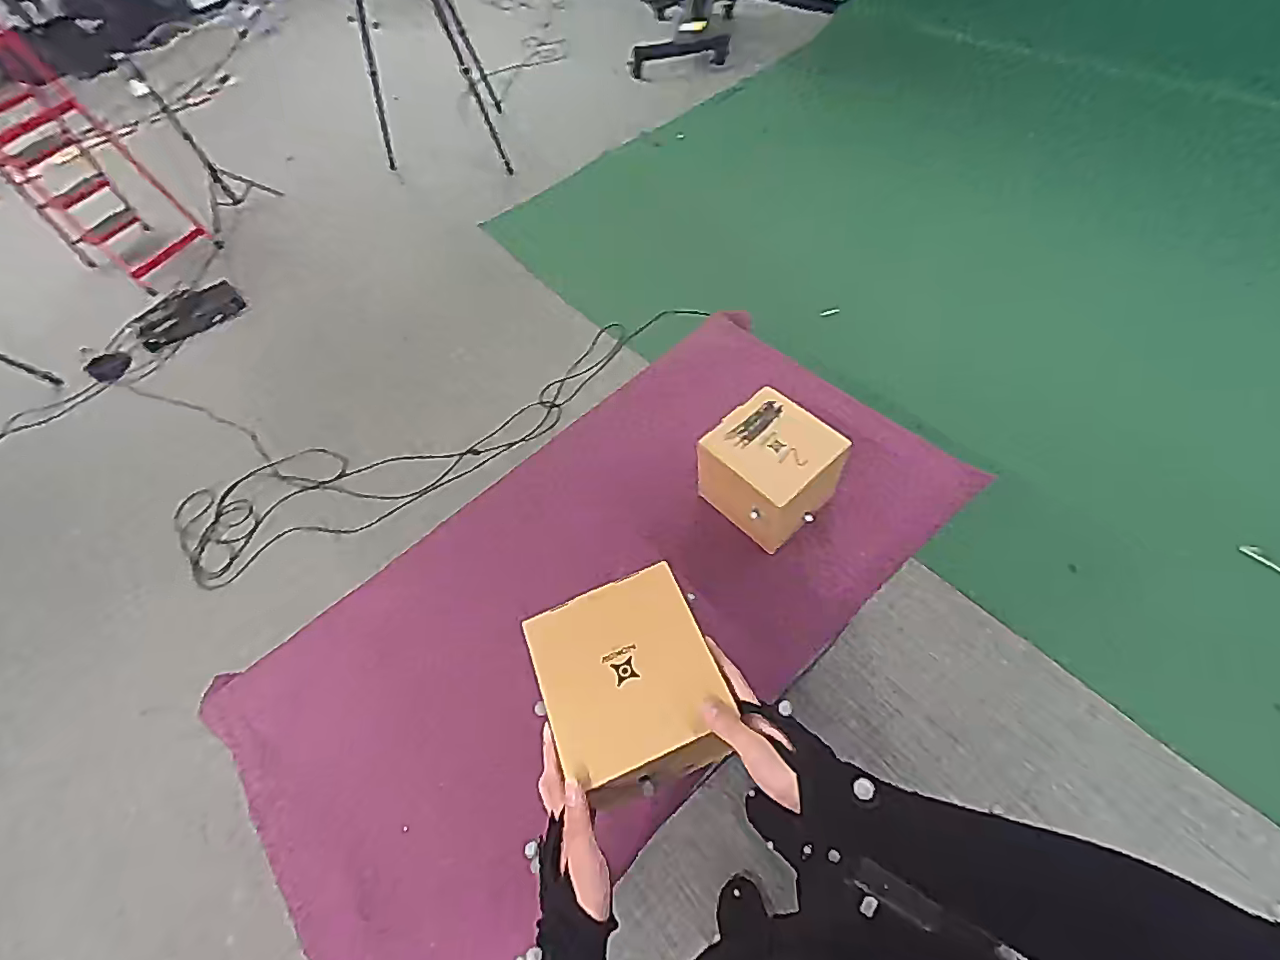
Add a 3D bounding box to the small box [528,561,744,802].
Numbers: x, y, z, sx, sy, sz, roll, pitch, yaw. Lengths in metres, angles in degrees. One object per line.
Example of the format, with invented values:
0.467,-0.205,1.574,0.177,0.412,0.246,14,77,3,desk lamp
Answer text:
0.000,0.223,0.580,0.168,0.176,0.179,-22,54,-7,small box
